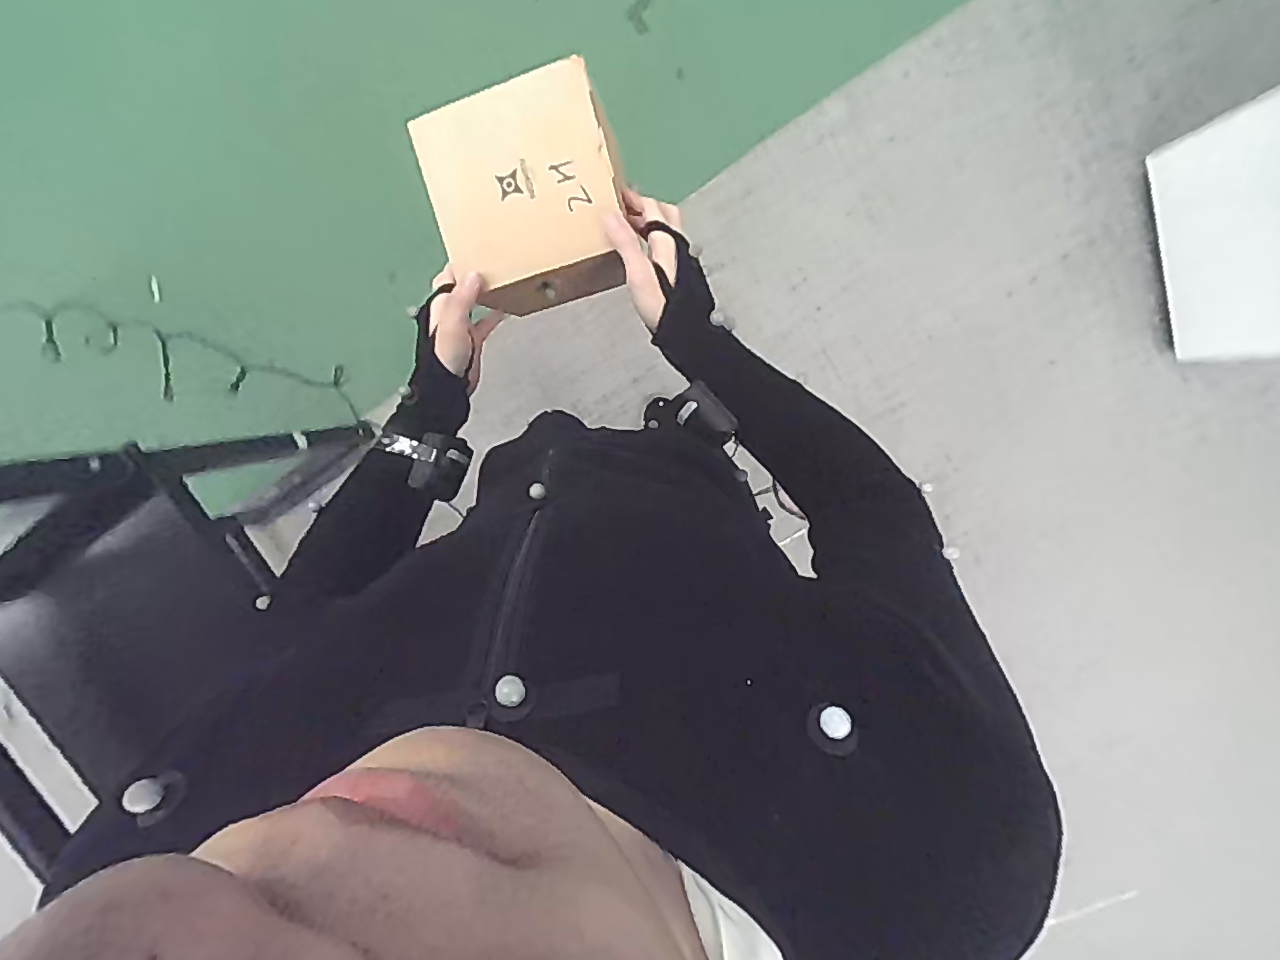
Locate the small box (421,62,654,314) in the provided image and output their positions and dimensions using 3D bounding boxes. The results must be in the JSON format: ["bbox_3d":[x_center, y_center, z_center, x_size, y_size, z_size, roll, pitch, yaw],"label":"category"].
[{"bbox_3d":[-0.093,-0.285,0.576,0.179,0.176,0.168,-13,99,9],"label":"small box"}]
